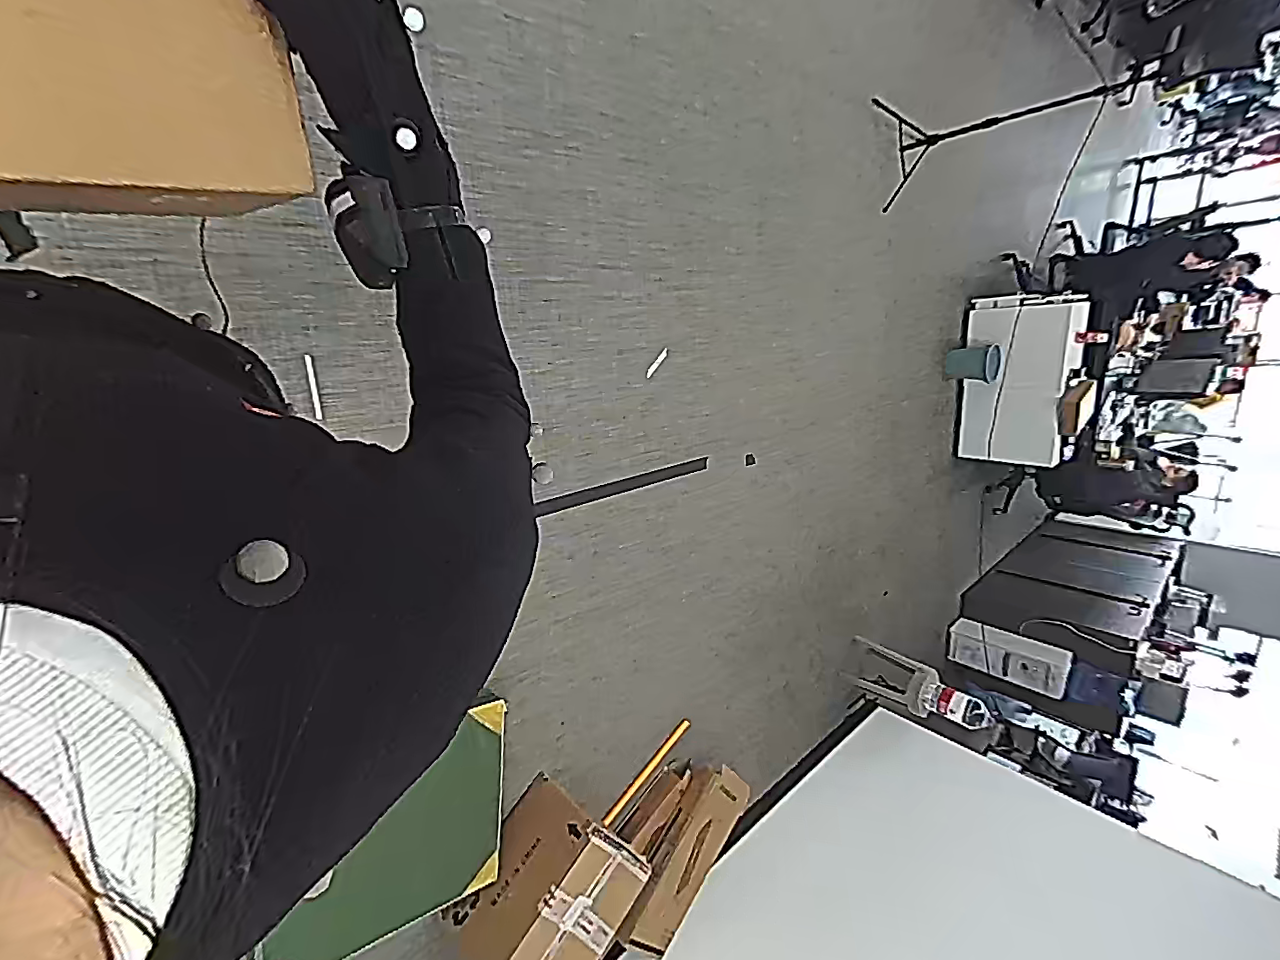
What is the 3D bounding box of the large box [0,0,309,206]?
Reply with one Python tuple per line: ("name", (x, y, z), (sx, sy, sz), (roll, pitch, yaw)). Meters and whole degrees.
("large box", (-0.477, -0.331, 0.291), (0.408, 0.320, 0.320), (-21, 122, -39))
